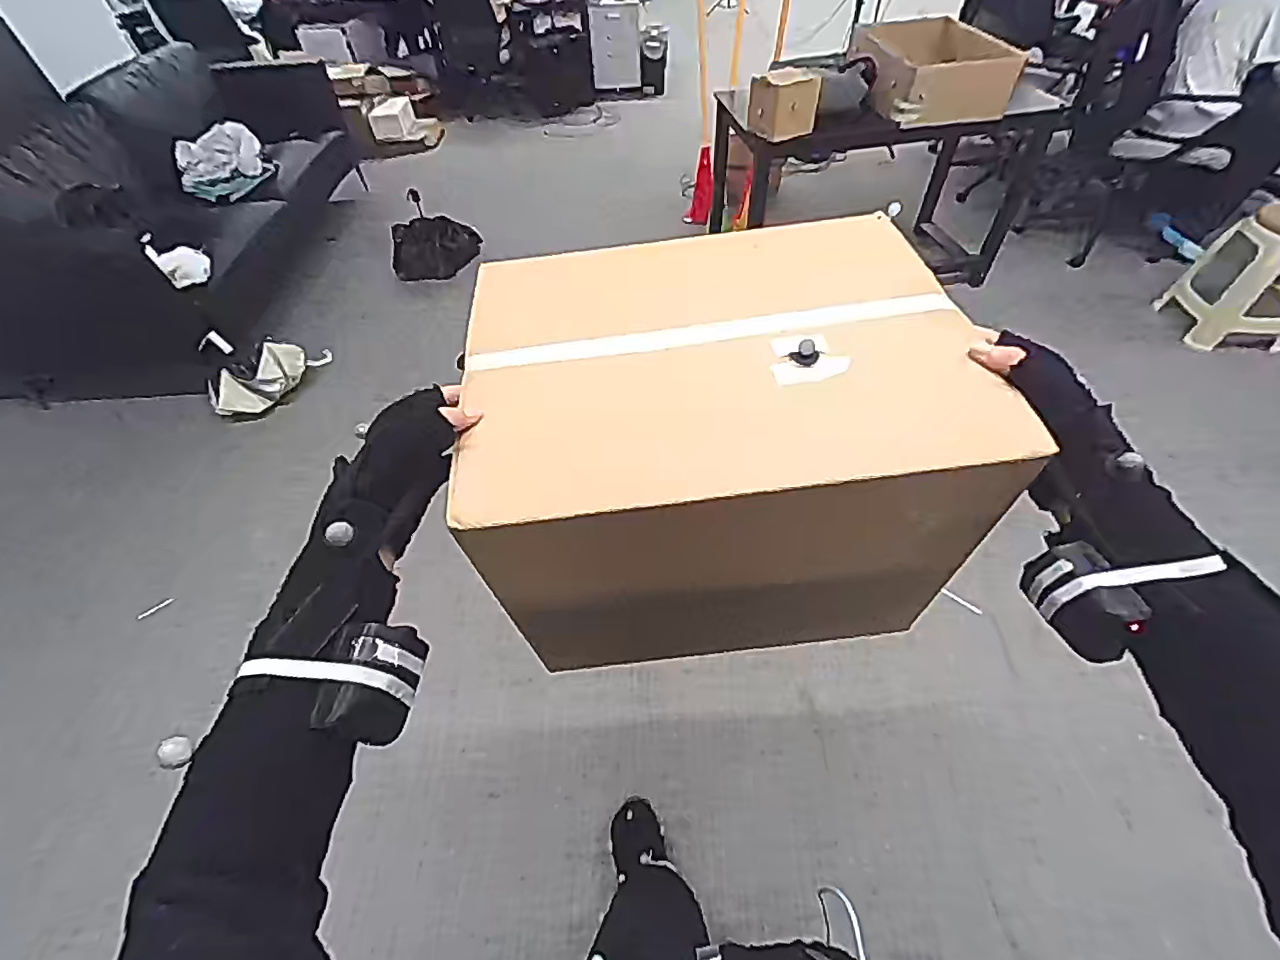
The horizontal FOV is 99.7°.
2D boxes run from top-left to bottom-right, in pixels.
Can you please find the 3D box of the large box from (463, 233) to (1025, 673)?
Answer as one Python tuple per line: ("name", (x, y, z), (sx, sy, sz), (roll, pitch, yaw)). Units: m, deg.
("large box", (0.066, -0.018, 0.578), (0.408, 0.320, 0.320), (-7, 53, 0))
